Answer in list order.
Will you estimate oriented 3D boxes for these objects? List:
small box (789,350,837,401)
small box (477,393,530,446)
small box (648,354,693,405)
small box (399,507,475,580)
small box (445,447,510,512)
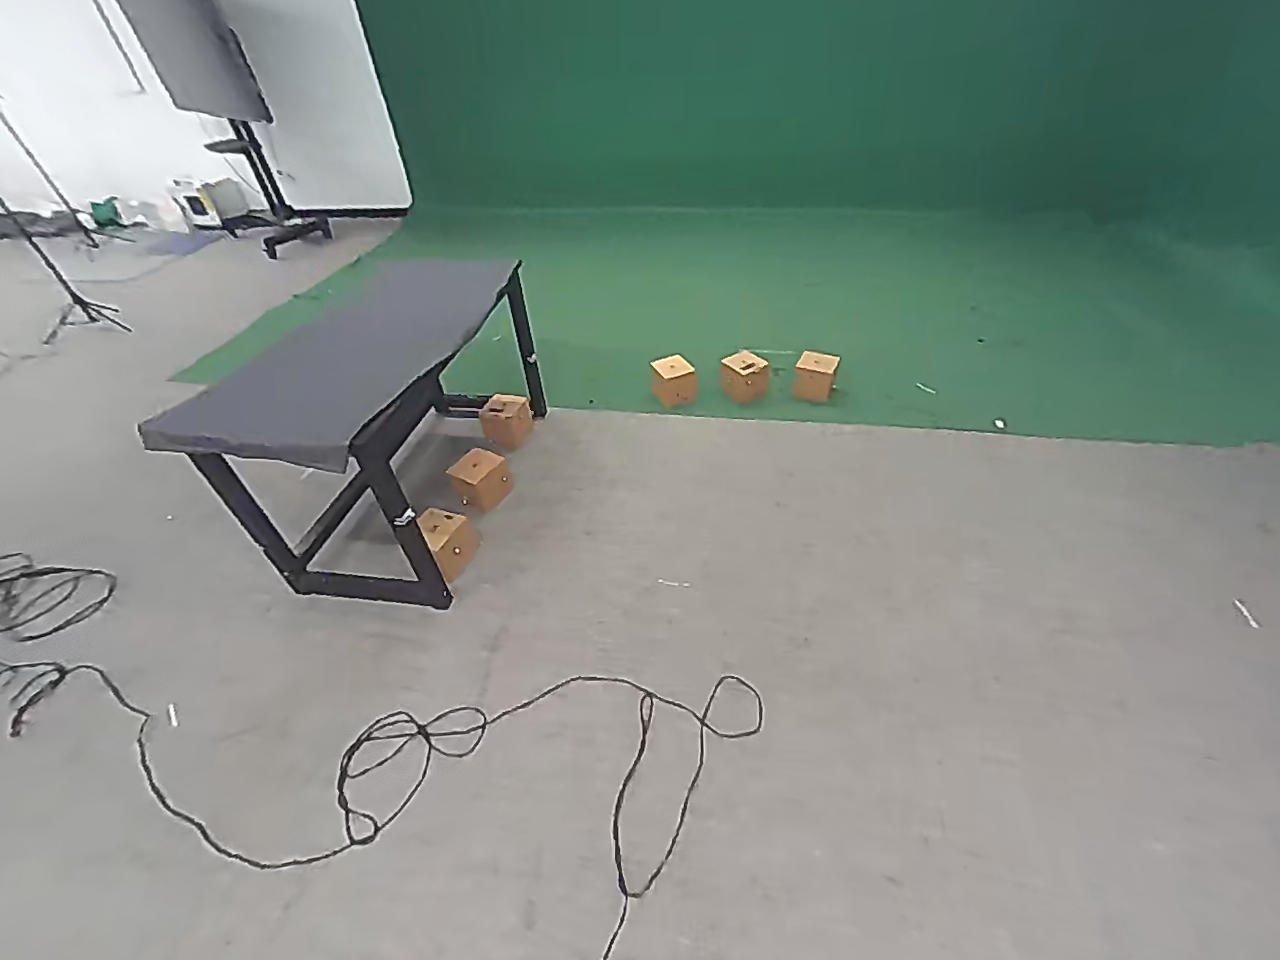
[{"bbox_3d":[0.839,-0.507,2.632,0.179,0.176,0.168,19,47,22],"label":"small box"},{"bbox_3d":[-0.619,-0.275,2.483,0.168,0.176,0.179,8,43,12],"label":"small box"},{"bbox_3d":[0.150,-0.494,2.673,0.168,0.176,0.179,-20,45,-18],"label":"small box"},{"bbox_3d":[-0.717,0.230,1.934,0.168,0.176,0.179,13,46,17],"label":"small box"},{"bbox_3d":[-0.648,-0.001,2.184,0.168,0.176,0.179,18,48,24],"label":"small box"}]
